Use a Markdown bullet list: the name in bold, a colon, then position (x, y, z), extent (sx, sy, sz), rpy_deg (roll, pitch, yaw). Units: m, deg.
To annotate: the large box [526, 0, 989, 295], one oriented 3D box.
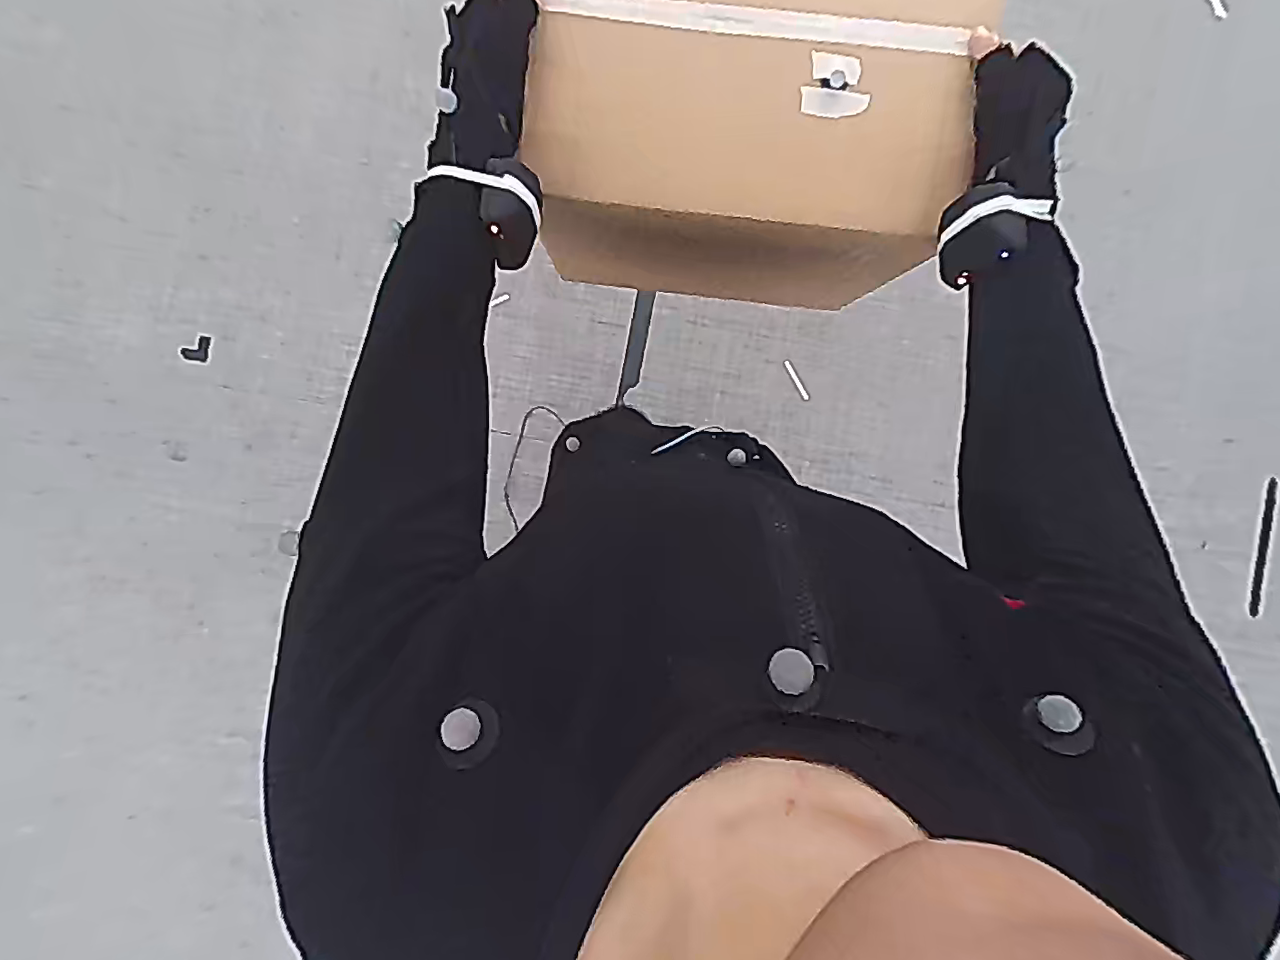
- **large box**: position (0.100, -0.415, 0.621), extent (0.408, 0.320, 0.320), rpy_deg (5, 97, -1)
